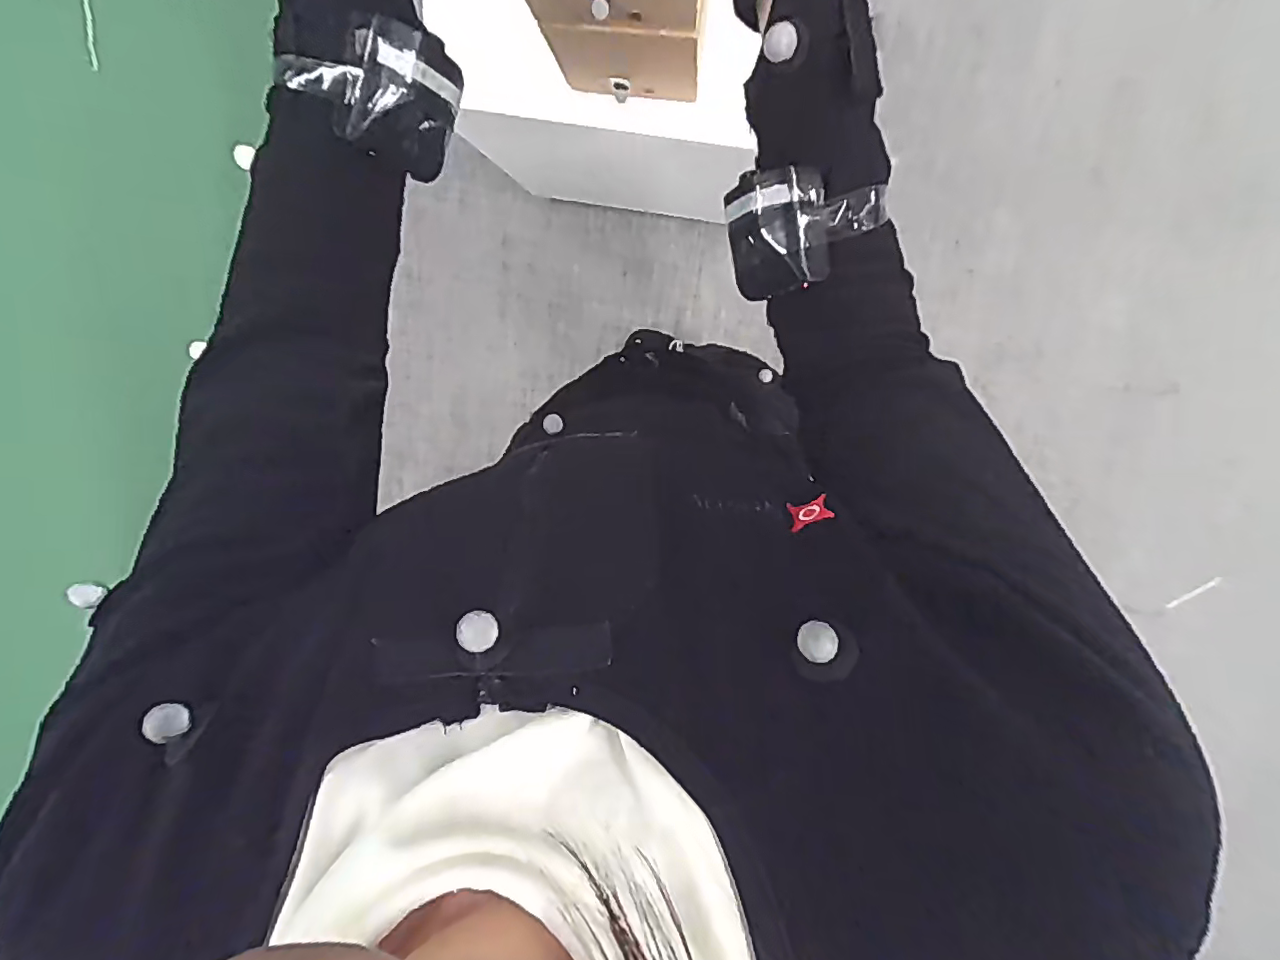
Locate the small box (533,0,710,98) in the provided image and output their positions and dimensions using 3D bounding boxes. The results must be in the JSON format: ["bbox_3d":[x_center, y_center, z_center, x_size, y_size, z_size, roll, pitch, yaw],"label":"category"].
[{"bbox_3d":[-0.009,-0.549,0.582,0.168,0.176,0.179,7,108,5],"label":"small box"}]

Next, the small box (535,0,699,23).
[{"bbox_3d":[-0.028,-0.510,0.424,0.168,0.176,0.179,4,105,5],"label":"small box"}]
